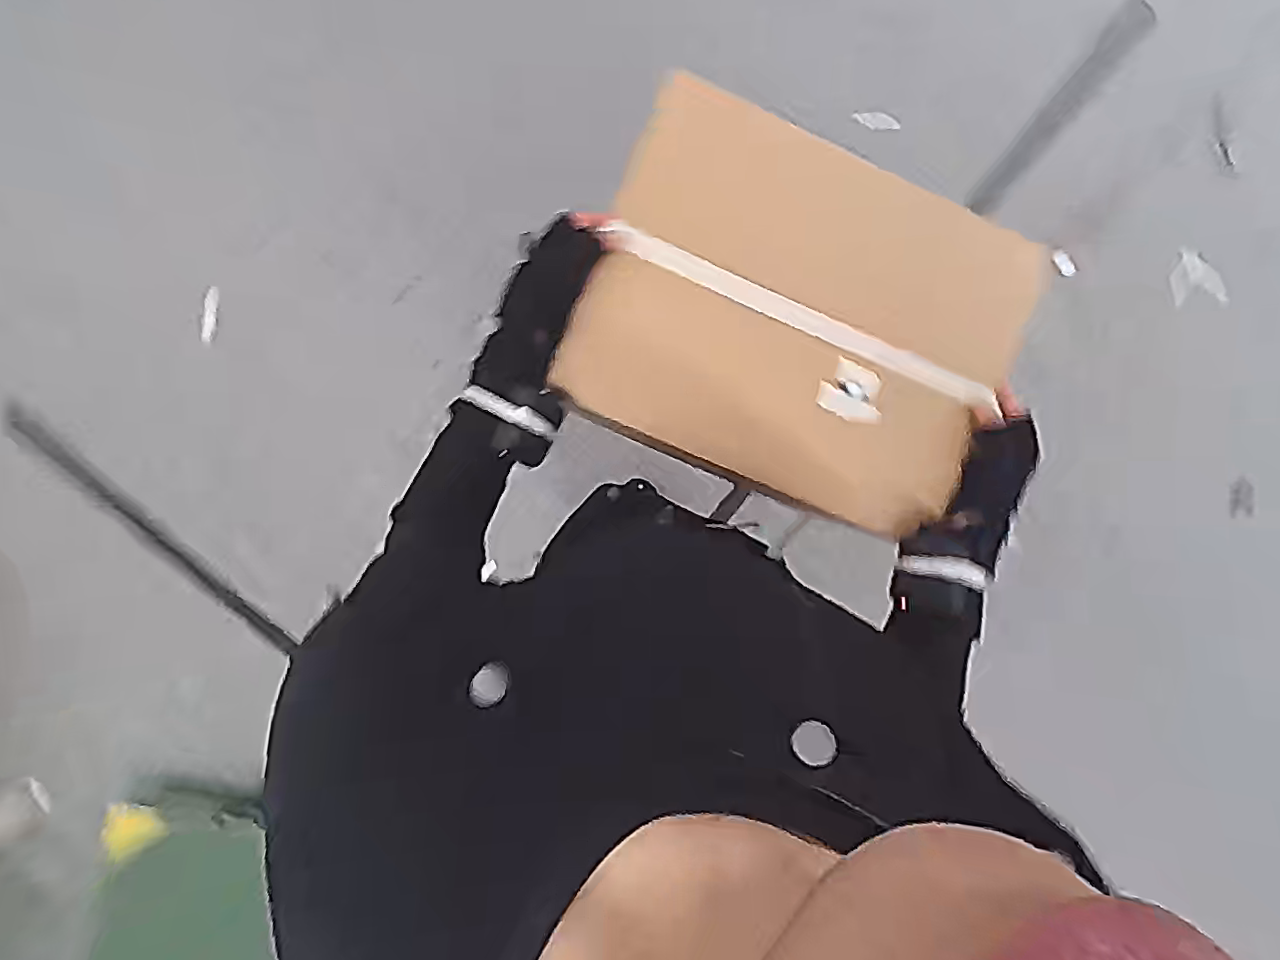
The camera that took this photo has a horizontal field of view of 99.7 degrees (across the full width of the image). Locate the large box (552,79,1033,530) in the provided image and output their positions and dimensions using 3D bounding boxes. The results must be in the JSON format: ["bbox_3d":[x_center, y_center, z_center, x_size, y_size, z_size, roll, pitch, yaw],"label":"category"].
[{"bbox_3d":[0.139,-0.170,0.668,0.408,0.320,0.320,23,93,-6],"label":"large box"}]
